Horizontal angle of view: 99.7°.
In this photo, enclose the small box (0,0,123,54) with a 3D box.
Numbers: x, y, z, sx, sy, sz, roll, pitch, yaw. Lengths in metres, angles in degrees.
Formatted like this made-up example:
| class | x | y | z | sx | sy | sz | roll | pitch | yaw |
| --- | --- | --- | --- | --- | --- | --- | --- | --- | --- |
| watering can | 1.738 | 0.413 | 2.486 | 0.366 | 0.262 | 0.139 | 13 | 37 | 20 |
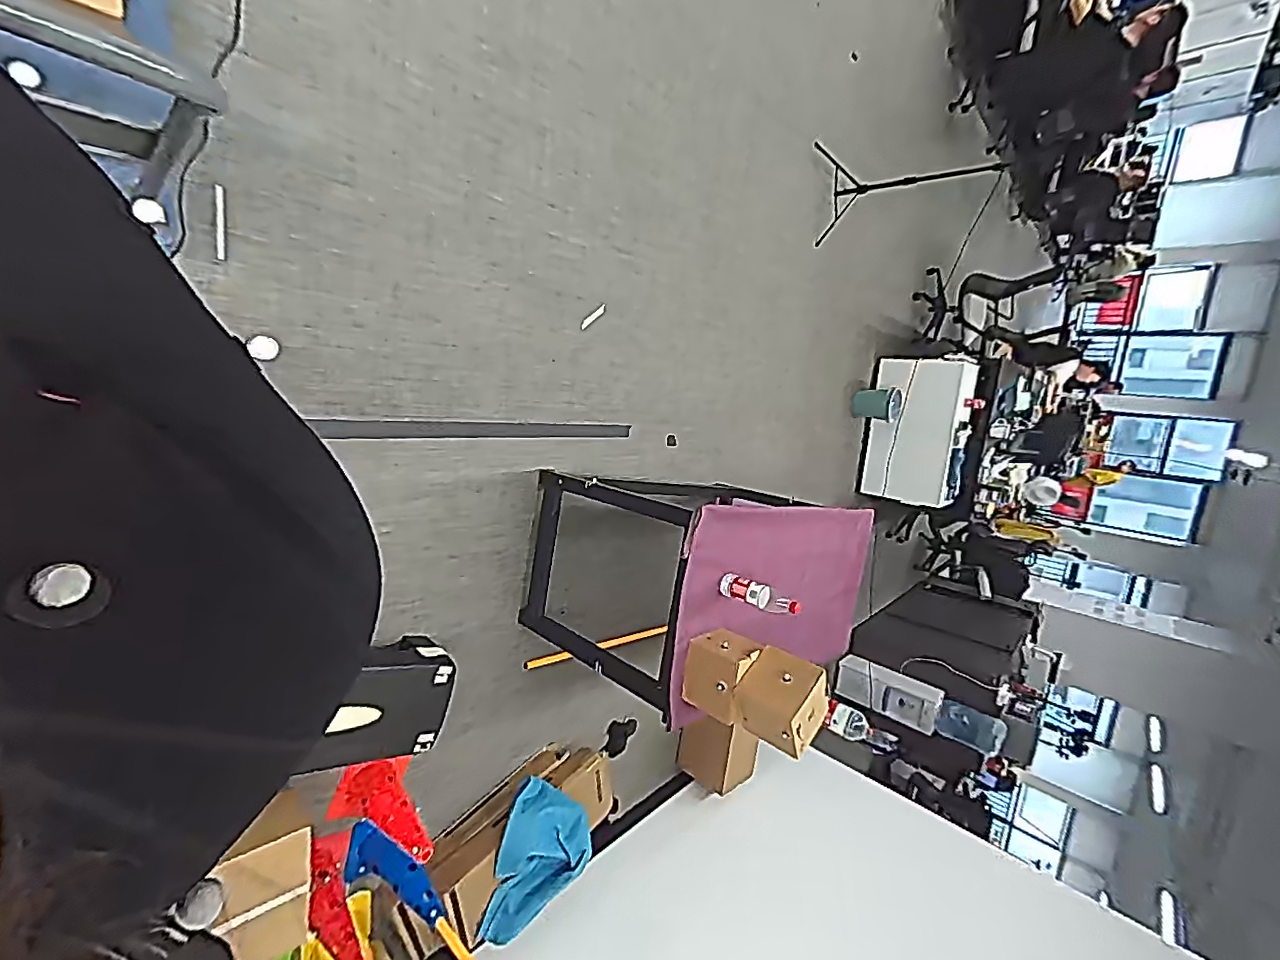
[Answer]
| class | x | y | z | sx | sy | sz | roll | pitch | yaw |
| --- | --- | --- | --- | --- | --- | --- | --- | --- | --- |
| small box | -0.854 | -0.743 | 0.754 | 0.179 | 0.176 | 0.168 | -9 | 107 | -46 |
